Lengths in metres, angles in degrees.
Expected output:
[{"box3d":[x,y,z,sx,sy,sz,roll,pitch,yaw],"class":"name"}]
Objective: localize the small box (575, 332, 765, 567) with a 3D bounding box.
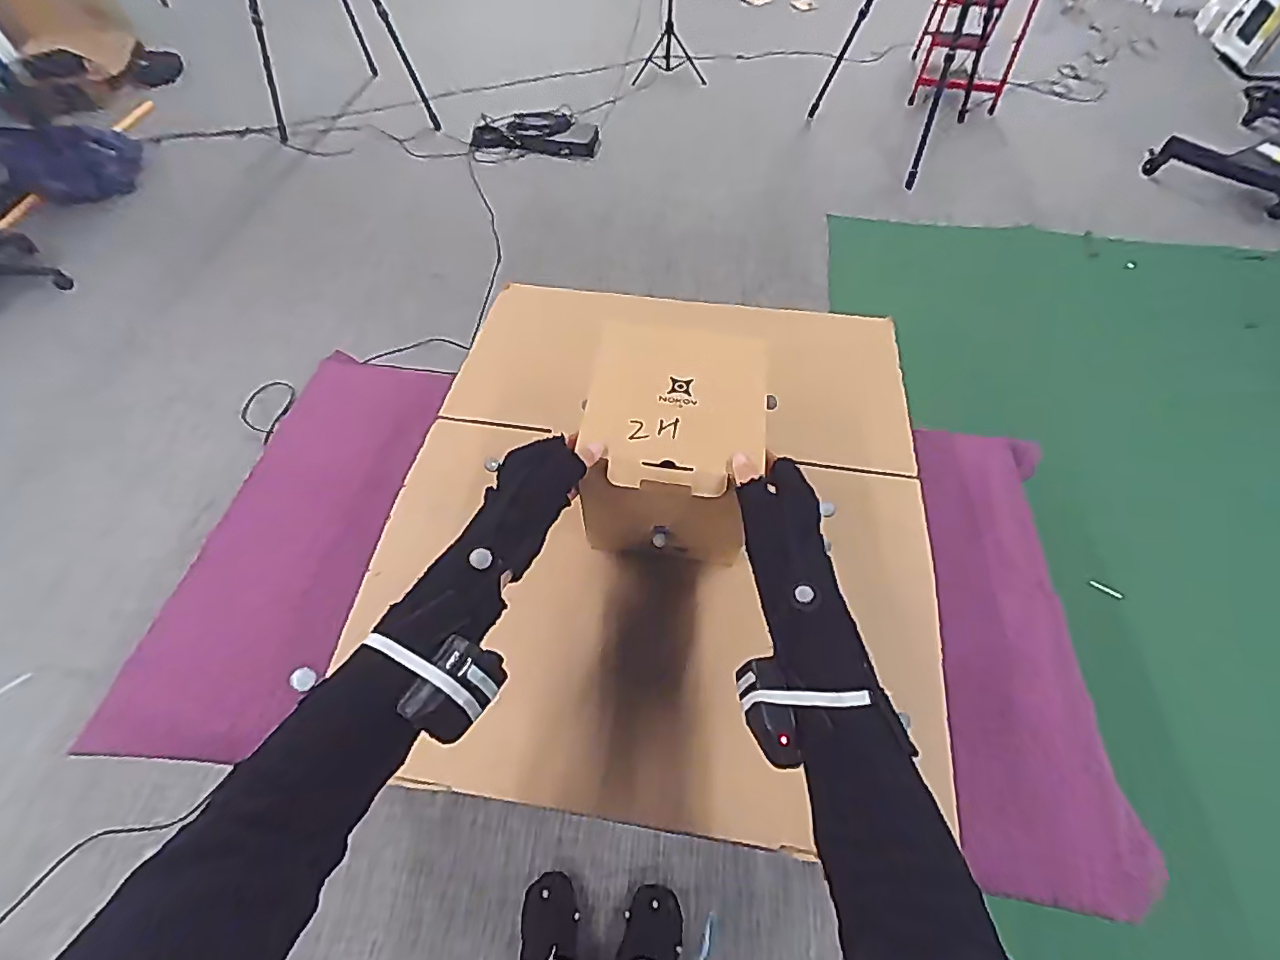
[{"box3d":[0.034,-0.029,0.580,0.168,0.176,0.179,7,56,5],"class":"small box"}]
